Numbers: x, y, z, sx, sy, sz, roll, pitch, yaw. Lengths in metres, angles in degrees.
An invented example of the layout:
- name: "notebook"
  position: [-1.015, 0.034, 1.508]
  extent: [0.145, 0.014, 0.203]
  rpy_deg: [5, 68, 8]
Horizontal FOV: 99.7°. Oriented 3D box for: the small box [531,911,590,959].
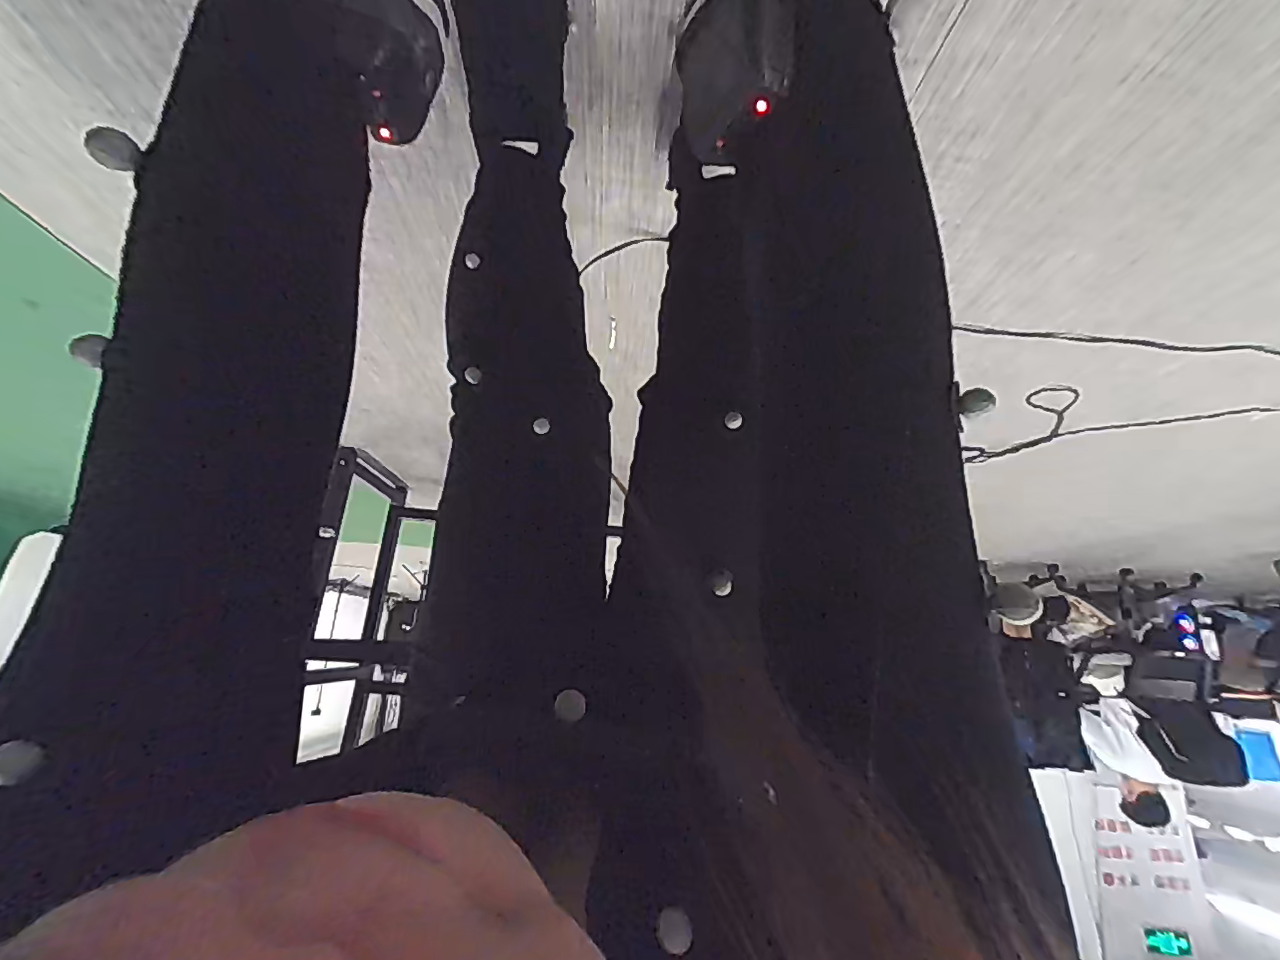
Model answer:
- name: "small box"
  position: [-0.245, 1.454, 1.654]
  extent: [0.168, 0.176, 0.179]
  rpy_deg: [5, 164, -2]
